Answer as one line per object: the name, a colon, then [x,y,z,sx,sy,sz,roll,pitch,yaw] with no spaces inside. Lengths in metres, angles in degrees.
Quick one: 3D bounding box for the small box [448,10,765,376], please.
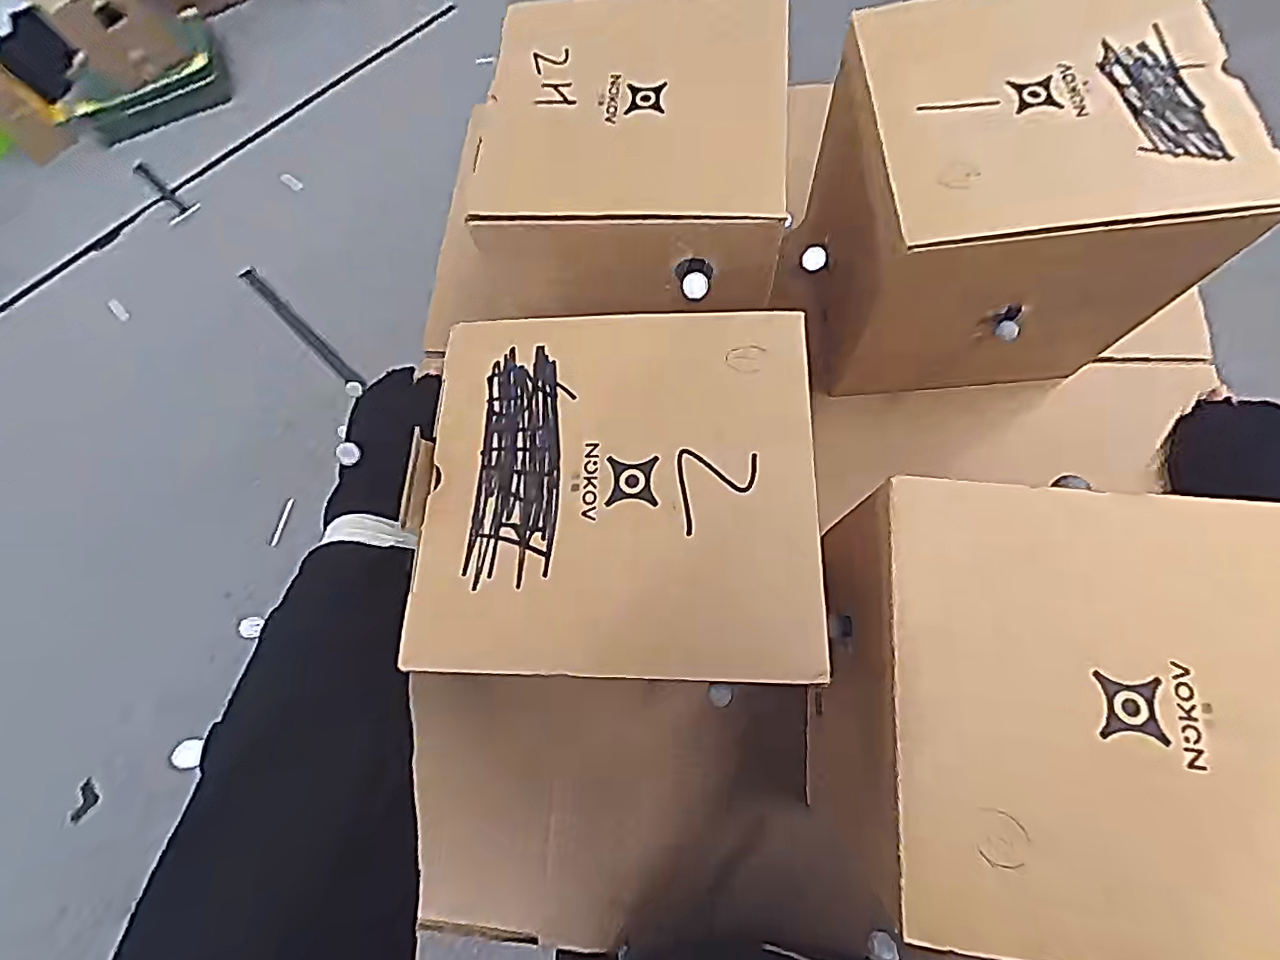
small box: [-0.008,-0.187,0.393,0.179,0.176,0.168,2,73,8]
